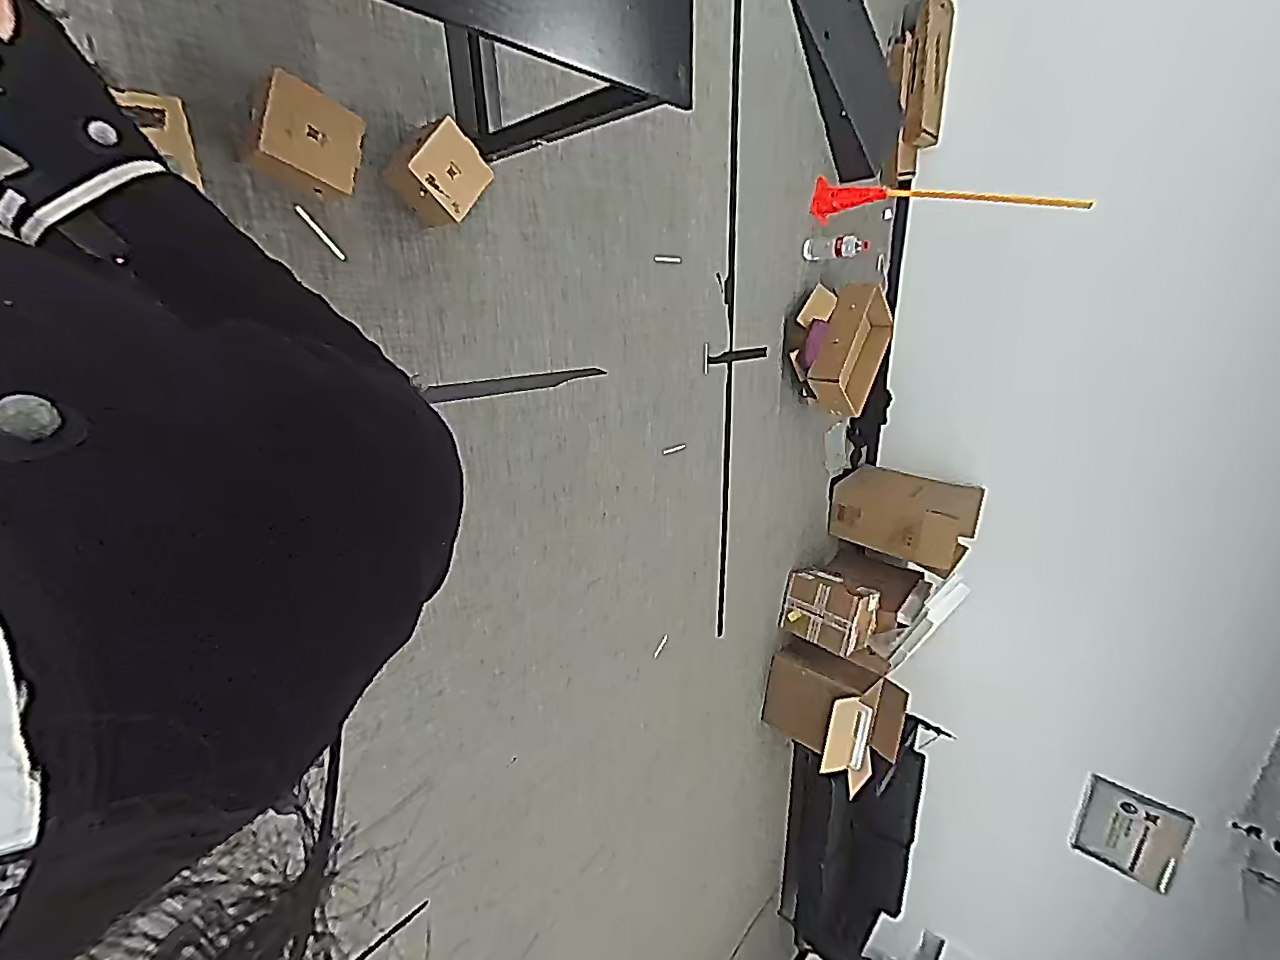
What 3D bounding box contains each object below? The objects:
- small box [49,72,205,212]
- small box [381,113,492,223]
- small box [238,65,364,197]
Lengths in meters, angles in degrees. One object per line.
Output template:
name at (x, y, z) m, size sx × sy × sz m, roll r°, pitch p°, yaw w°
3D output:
small box at (-0.930, -0.597, 0.982) m, size 0.168 × 0.176 × 0.179 m, roll -21°, pitch 119°, yaw -43°
small box at (-0.520, -0.784, 1.375) m, size 0.168 × 0.176 × 0.179 m, roll 43°, pitch 70°, yaw -46°
small box at (-0.730, -0.732, 1.162) m, size 0.179 × 0.176 × 0.168 m, roll 10°, pitch 94°, yaw -48°
